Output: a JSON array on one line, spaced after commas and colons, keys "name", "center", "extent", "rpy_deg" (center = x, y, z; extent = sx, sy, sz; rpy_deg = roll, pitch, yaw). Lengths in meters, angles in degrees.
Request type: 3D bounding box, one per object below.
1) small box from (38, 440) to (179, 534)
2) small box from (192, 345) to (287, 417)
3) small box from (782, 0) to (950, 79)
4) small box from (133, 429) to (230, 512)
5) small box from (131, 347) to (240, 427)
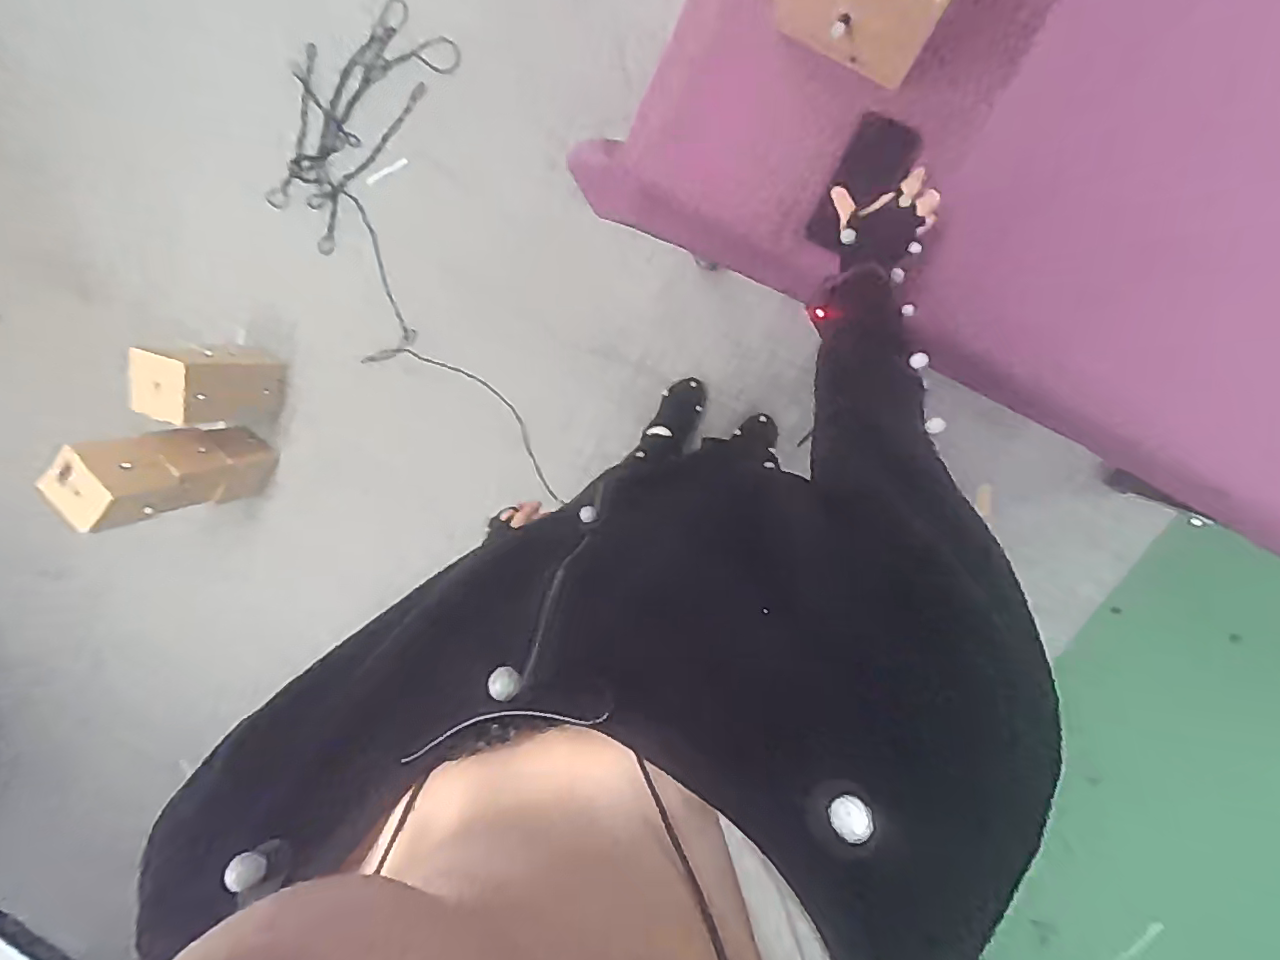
[{"name": "small box", "center": [-1.376, 0.008, 1.409], "extent": [0.168, 0.176, 0.179], "rpy_deg": [-40, 91, 16]}, {"name": "small box", "center": [-1.224, -0.305, 1.650], "extent": [0.179, 0.176, 0.168], "rpy_deg": [22, 105, 7]}, {"name": "small box", "center": [0.251, -0.547, 0.528], "extent": [0.168, 0.176, 0.179], "rpy_deg": [31, 107, 4]}, {"name": "small box", "center": [-1.348, -0.029, 1.567], "extent": [0.168, 0.176, 0.179], "rpy_deg": [45, 106, 1]}, {"name": "small box", "center": [-1.249, -0.261, 1.494], "extent": [0.168, 0.176, 0.179], "rpy_deg": [17, 105, 7]}]
